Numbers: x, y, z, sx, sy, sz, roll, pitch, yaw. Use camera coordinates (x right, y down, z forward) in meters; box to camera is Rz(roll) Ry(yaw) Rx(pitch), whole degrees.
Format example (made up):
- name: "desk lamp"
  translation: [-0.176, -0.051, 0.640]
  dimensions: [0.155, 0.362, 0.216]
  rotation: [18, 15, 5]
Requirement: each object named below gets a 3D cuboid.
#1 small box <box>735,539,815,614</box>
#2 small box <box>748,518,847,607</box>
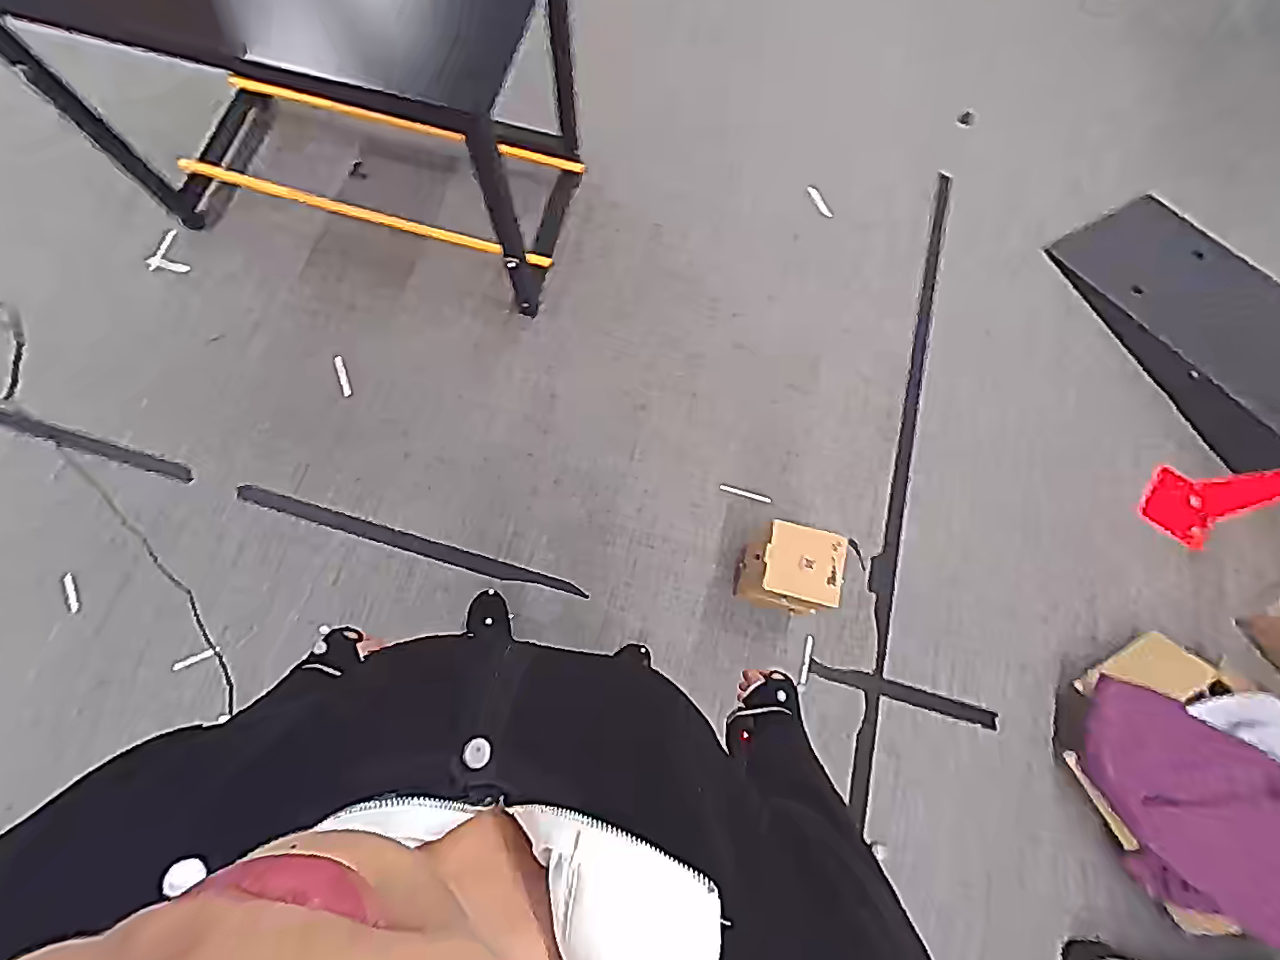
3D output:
- name: "small box"
  translation: [0.373, 0.255, 1.458]
  dimensions: [0.179, 0.176, 0.168]
  rotation: [17, 75, 2]
- name: "small box"
  translation: [0.370, 0.205, 1.302]
  dimensions: [0.179, 0.176, 0.168]
  rotation: [15, 75, 2]
